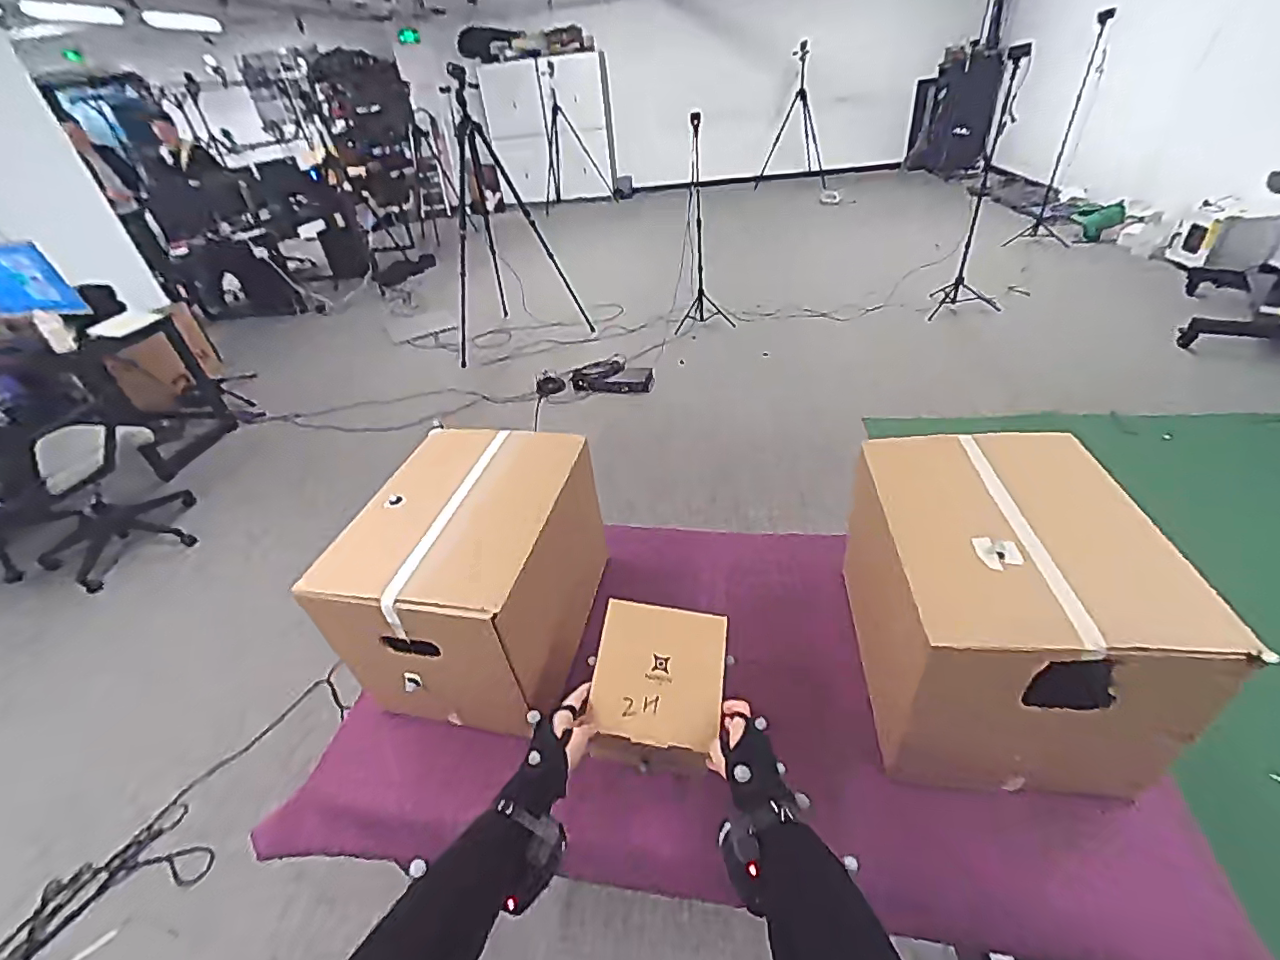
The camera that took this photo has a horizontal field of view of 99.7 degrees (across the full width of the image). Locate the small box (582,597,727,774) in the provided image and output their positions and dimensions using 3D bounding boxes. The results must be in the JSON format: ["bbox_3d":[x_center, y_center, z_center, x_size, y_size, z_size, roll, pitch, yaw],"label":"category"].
[{"bbox_3d":[0.022,0.289,0.756,0.168,0.176,0.179,8,54,6],"label":"small box"}]

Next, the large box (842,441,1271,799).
[{"bbox_3d":[0.504,0.180,0.792,0.320,0.320,0.408,-2,37,11],"label":"large box"}]
